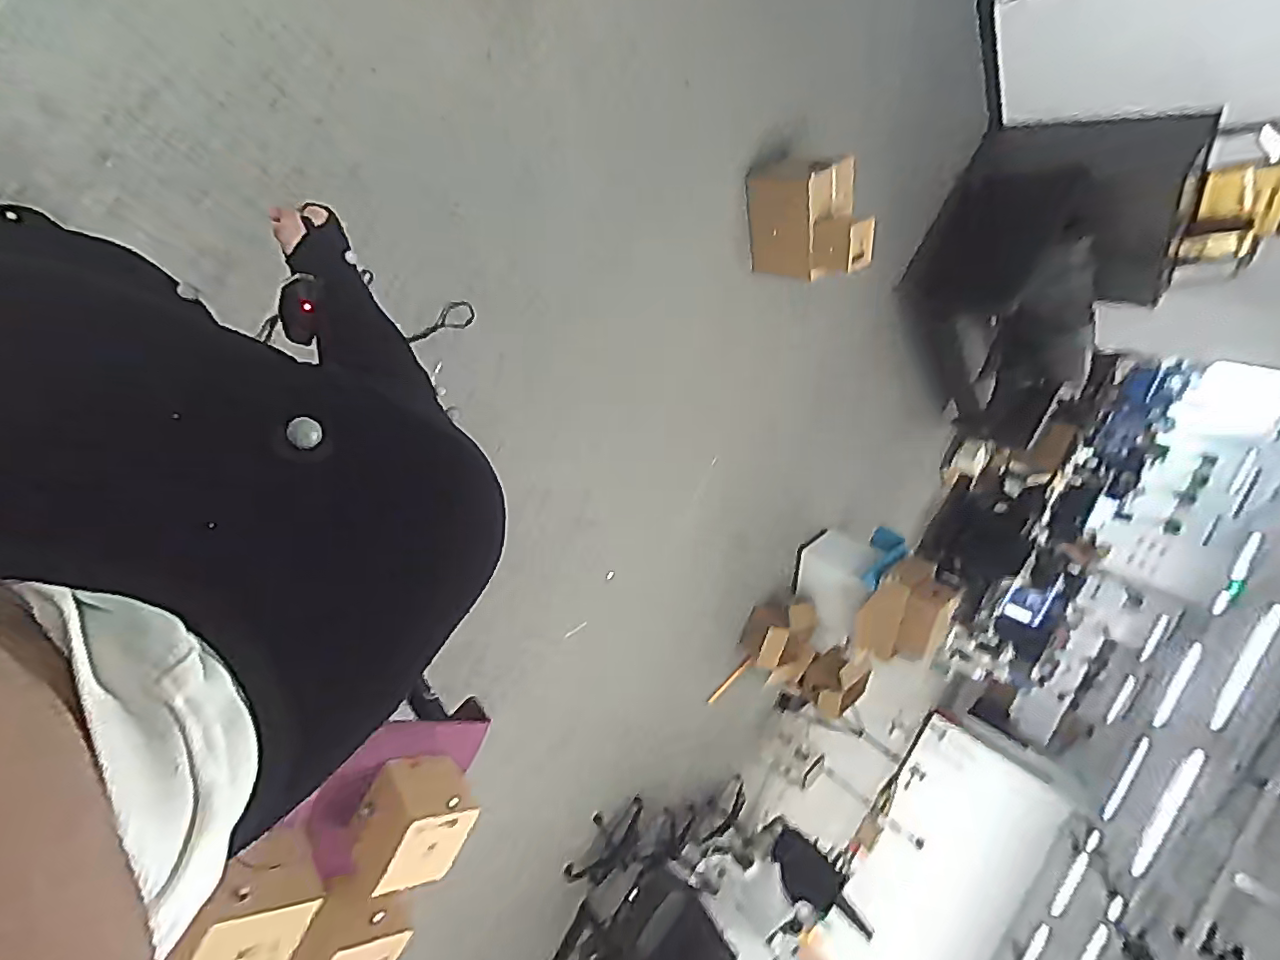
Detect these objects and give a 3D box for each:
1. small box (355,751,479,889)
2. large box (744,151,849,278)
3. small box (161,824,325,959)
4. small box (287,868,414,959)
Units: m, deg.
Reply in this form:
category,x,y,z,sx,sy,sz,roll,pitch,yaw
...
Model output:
category,x,y,z,sx,sy,sz,roll,pitch,yaw
small box,-0.488,0.723,1.170,0.168,0.176,0.179,27,93,-49
large box,0.678,-1.139,2.324,0.320,0.320,0.408,-39,134,-25
small box,-0.711,0.756,0.965,0.179,0.176,0.168,31,89,-49
small box,-0.632,0.975,1.168,0.179,0.176,0.168,30,89,-48
